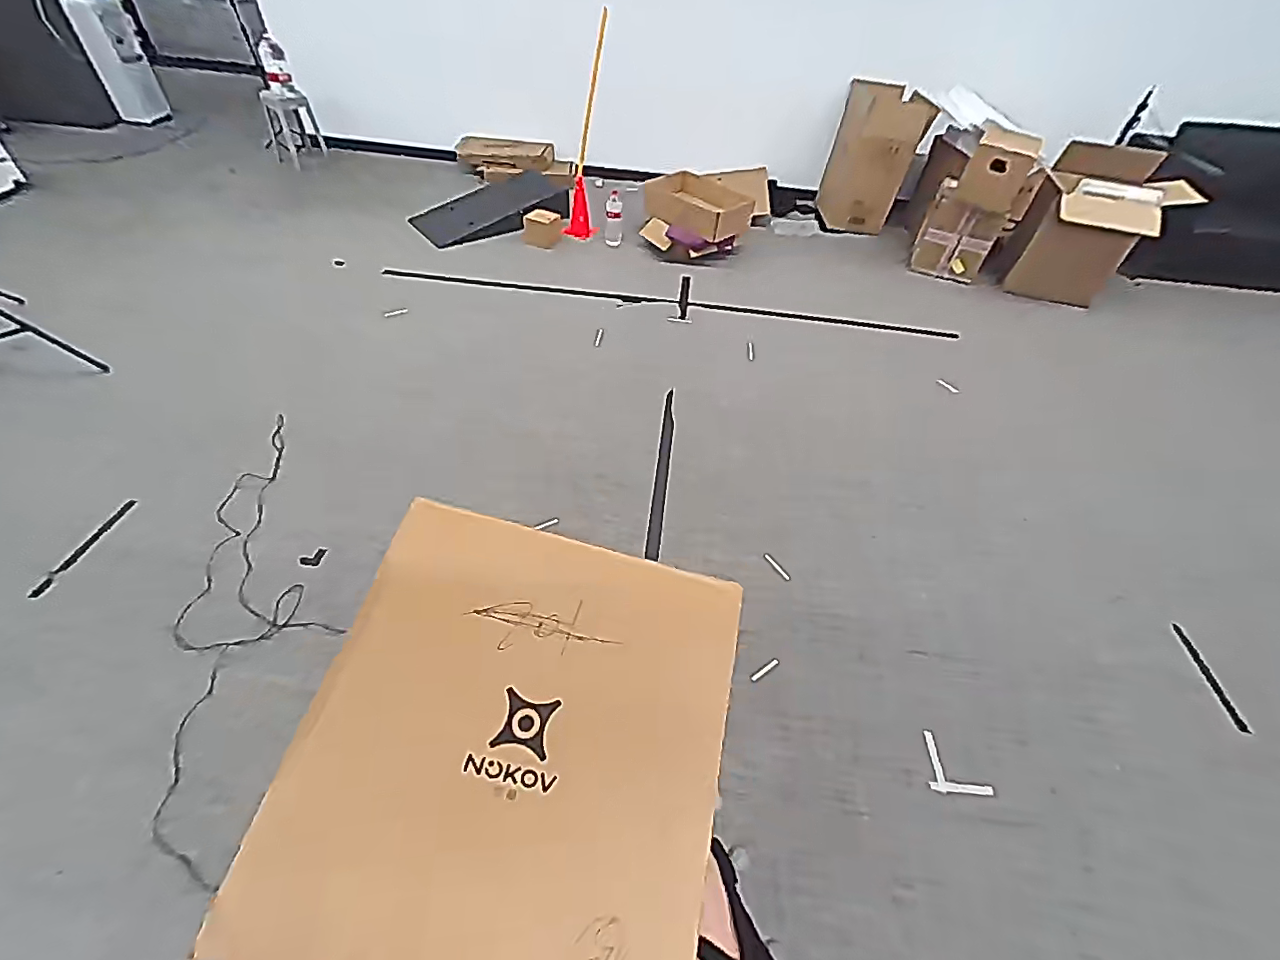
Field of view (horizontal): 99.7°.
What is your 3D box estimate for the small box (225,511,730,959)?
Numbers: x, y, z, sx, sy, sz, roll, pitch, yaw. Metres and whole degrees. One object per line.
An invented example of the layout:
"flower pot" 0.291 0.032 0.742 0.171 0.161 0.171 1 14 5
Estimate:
"small box" -0.063 0.147 0.300 0.168 0.176 0.179 15 58 -3
